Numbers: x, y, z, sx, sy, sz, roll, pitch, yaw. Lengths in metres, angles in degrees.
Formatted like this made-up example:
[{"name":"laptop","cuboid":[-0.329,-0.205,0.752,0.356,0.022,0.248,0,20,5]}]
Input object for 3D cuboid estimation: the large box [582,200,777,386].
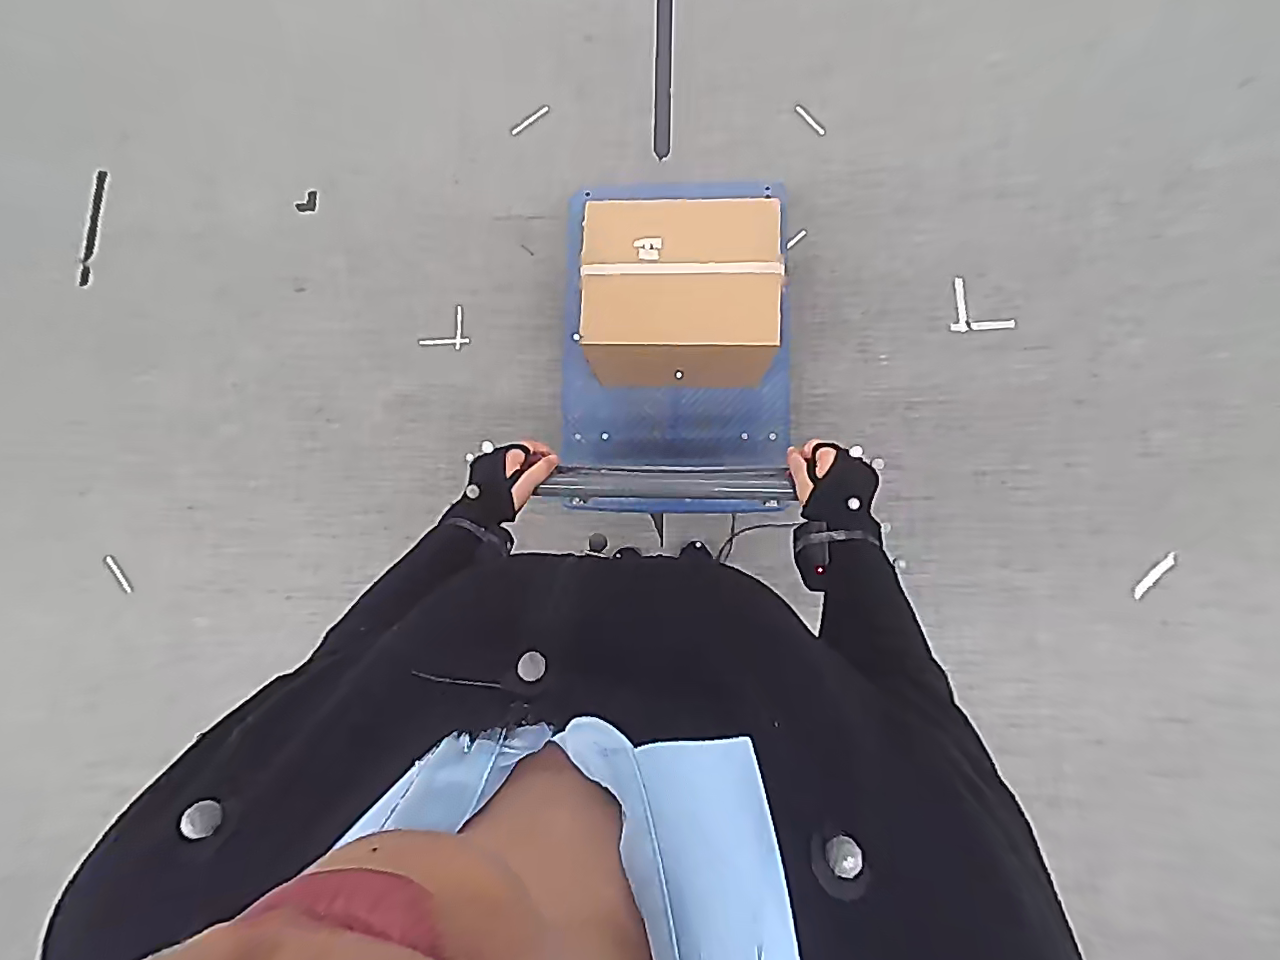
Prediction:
[{"name":"large box","cuboid":[0.094,-0.410,1.262,0.408,0.320,0.320,1,83,5]}]
